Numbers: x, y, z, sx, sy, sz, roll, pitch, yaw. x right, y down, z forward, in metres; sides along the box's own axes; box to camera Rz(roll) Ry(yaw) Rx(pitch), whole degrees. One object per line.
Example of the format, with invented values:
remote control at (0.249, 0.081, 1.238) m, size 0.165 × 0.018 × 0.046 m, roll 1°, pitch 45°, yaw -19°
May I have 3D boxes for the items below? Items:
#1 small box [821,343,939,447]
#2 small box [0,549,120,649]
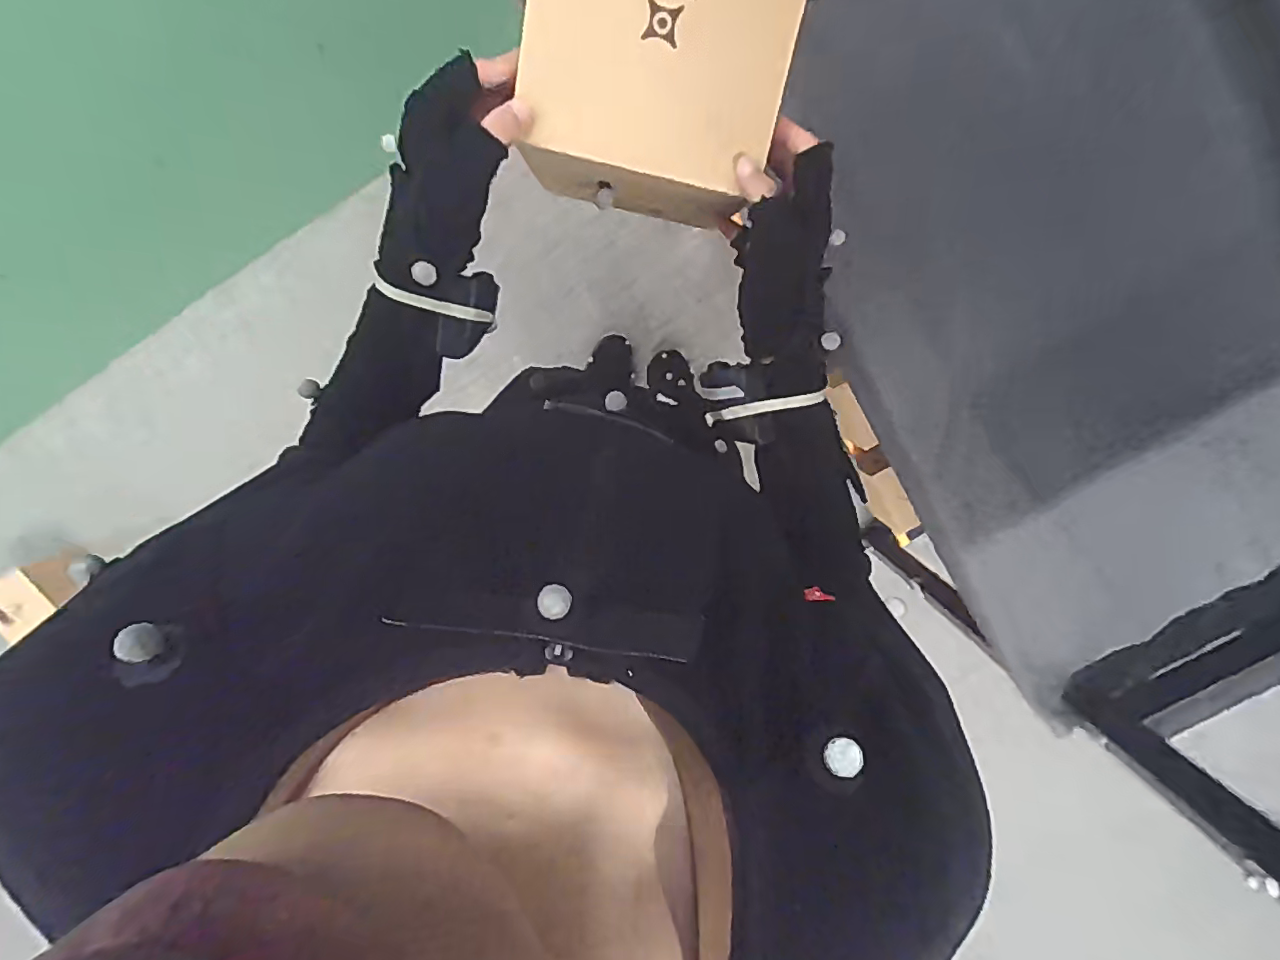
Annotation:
small box at (0.543, -0.201, 1.256) m, size 0.179 × 0.176 × 0.168 m, roll -31°, pitch 102°, yaw 8°
small box at (-1.595, 0.316, 1.468) m, size 0.179 × 0.176 × 0.168 m, roll -31°, pitch 102°, yaw 6°
